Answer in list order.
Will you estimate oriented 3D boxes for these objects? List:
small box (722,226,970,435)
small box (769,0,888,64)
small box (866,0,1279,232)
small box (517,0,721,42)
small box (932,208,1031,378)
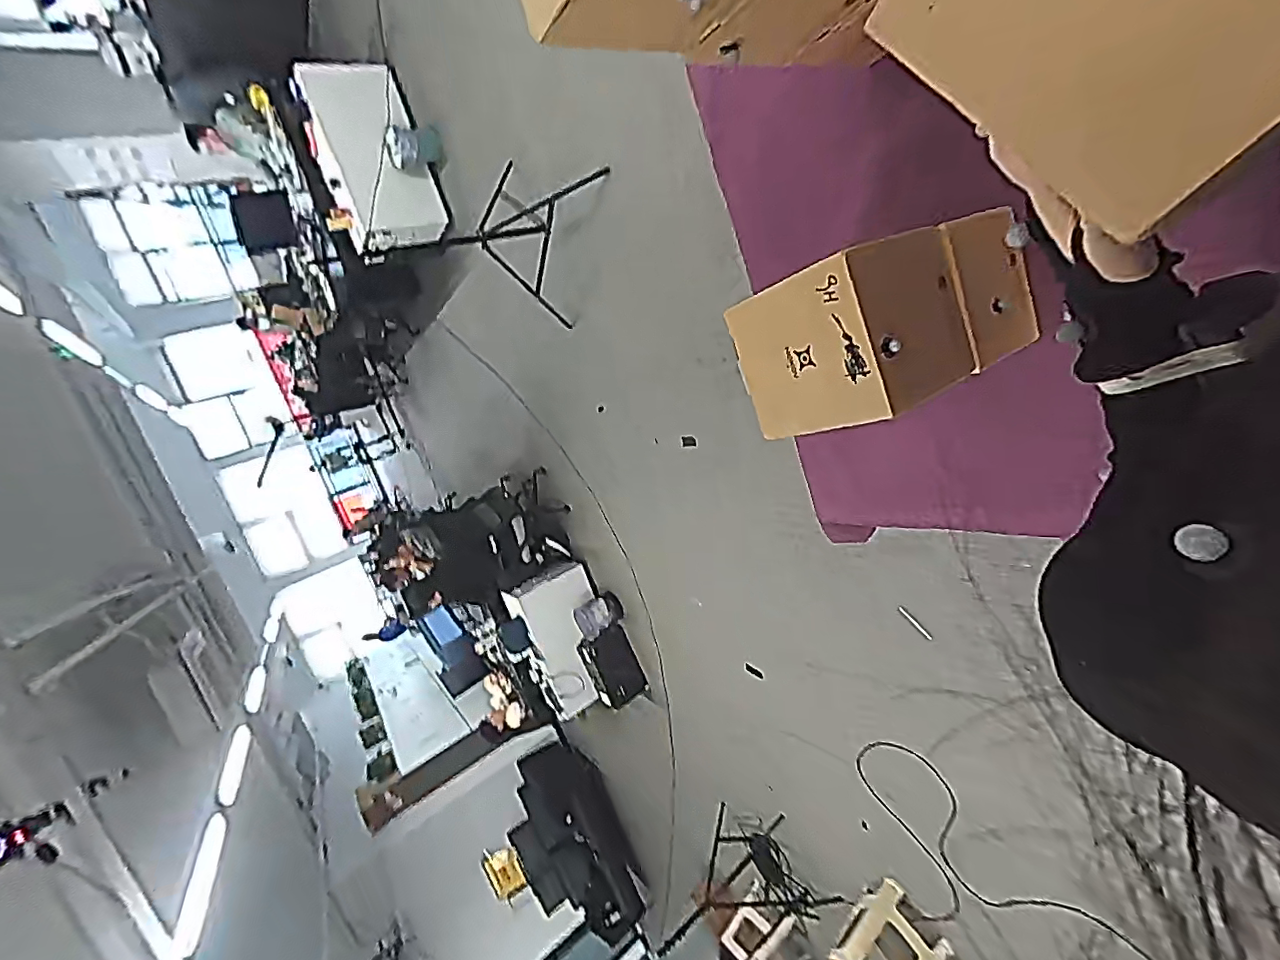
[{"bbox_3d":[0.230,-0.163,0.615,0.179,0.176,0.168,-6,107,60],"label":"small box"},{"bbox_3d":[0.250,-0.597,0.588,0.168,0.176,0.179,0,111,57],"label":"small box"},{"bbox_3d":[0.250,-0.244,0.236,0.179,0.176,0.168,55,150,15],"label":"small box"},{"bbox_3d":[-0.010,-0.484,0.420,0.168,0.176,0.179,0,112,58],"label":"small box"},{"bbox_3d":[0.364,-0.223,0.689,0.179,0.176,0.168,-4,109,59],"label":"small box"}]
